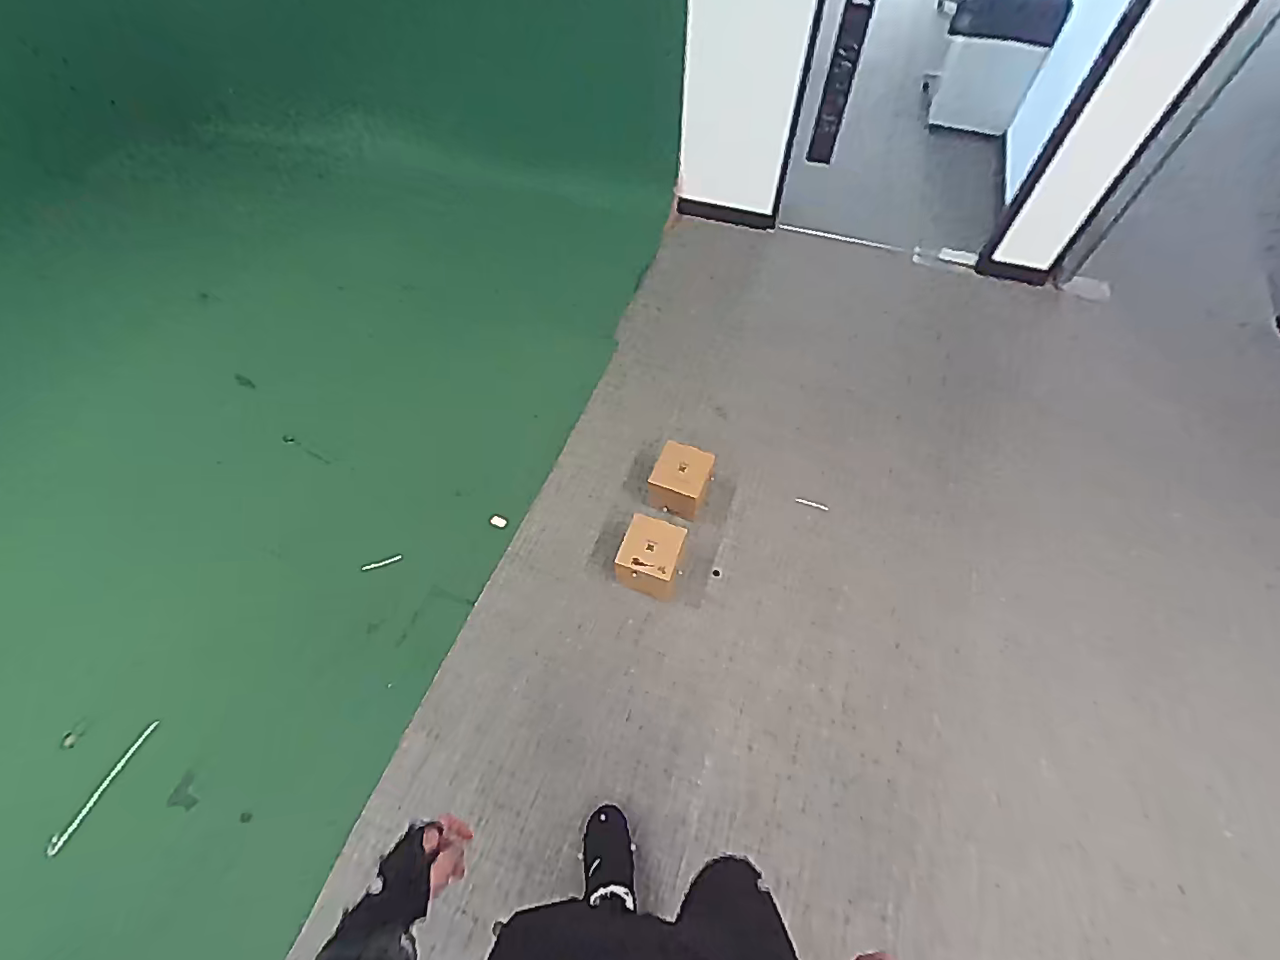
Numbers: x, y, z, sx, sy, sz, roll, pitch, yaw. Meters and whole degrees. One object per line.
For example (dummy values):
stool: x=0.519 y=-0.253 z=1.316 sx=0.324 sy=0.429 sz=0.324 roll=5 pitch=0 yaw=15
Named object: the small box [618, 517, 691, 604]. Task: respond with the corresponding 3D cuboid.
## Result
small box: x=0.043 y=0.243 z=1.616 sx=0.168 sy=0.176 sz=0.179 roll=17 pitch=59 yaw=12
